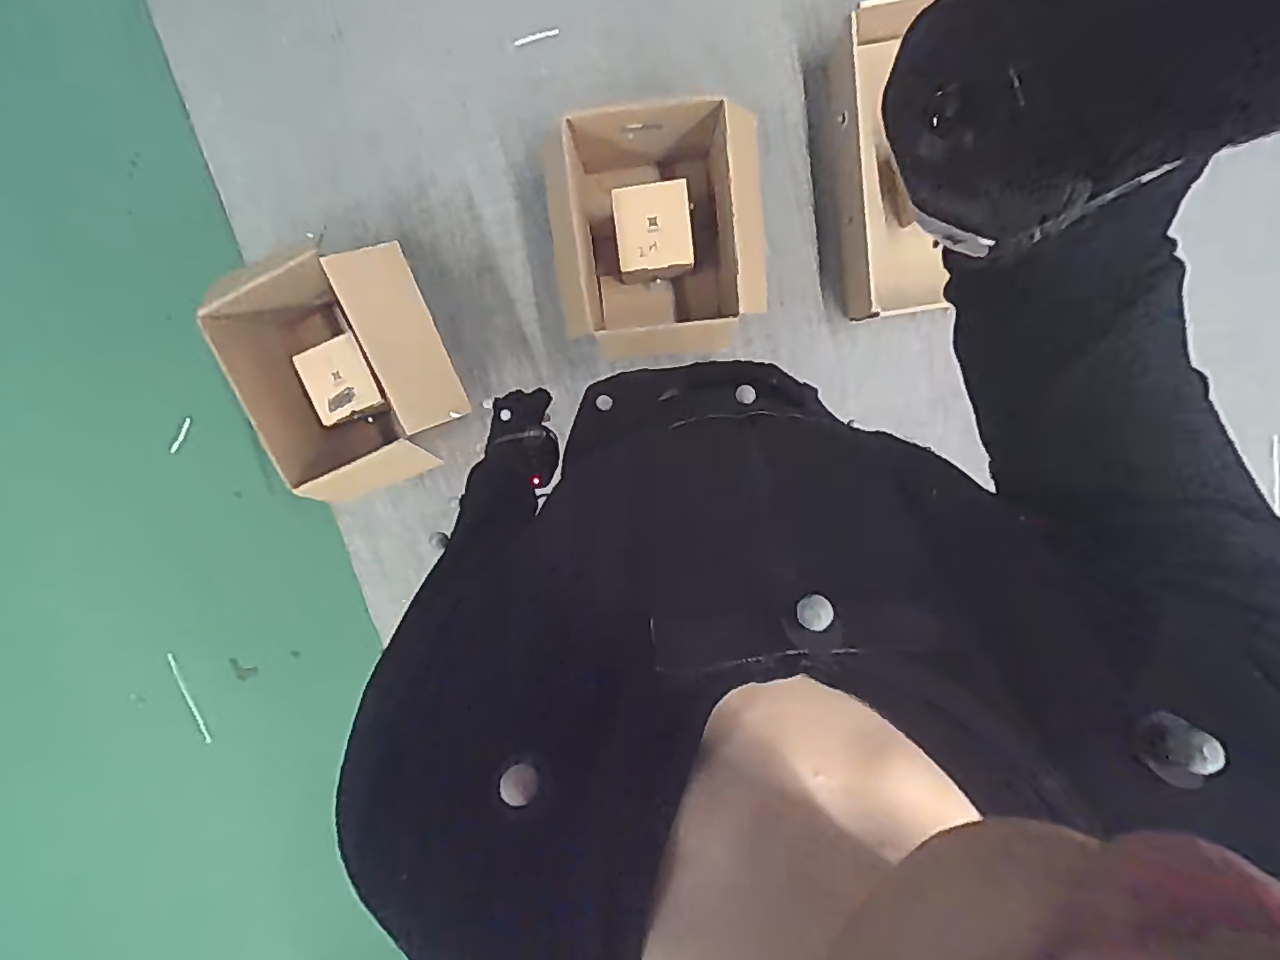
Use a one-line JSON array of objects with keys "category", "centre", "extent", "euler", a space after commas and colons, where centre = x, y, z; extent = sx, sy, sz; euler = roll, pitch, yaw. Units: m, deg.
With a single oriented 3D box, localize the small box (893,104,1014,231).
[{"category": "small box", "centre": [0.681, -0.677, 1.192], "extent": [0.168, 0.176, 0.179], "euler": [-13, 101, 4]}]
